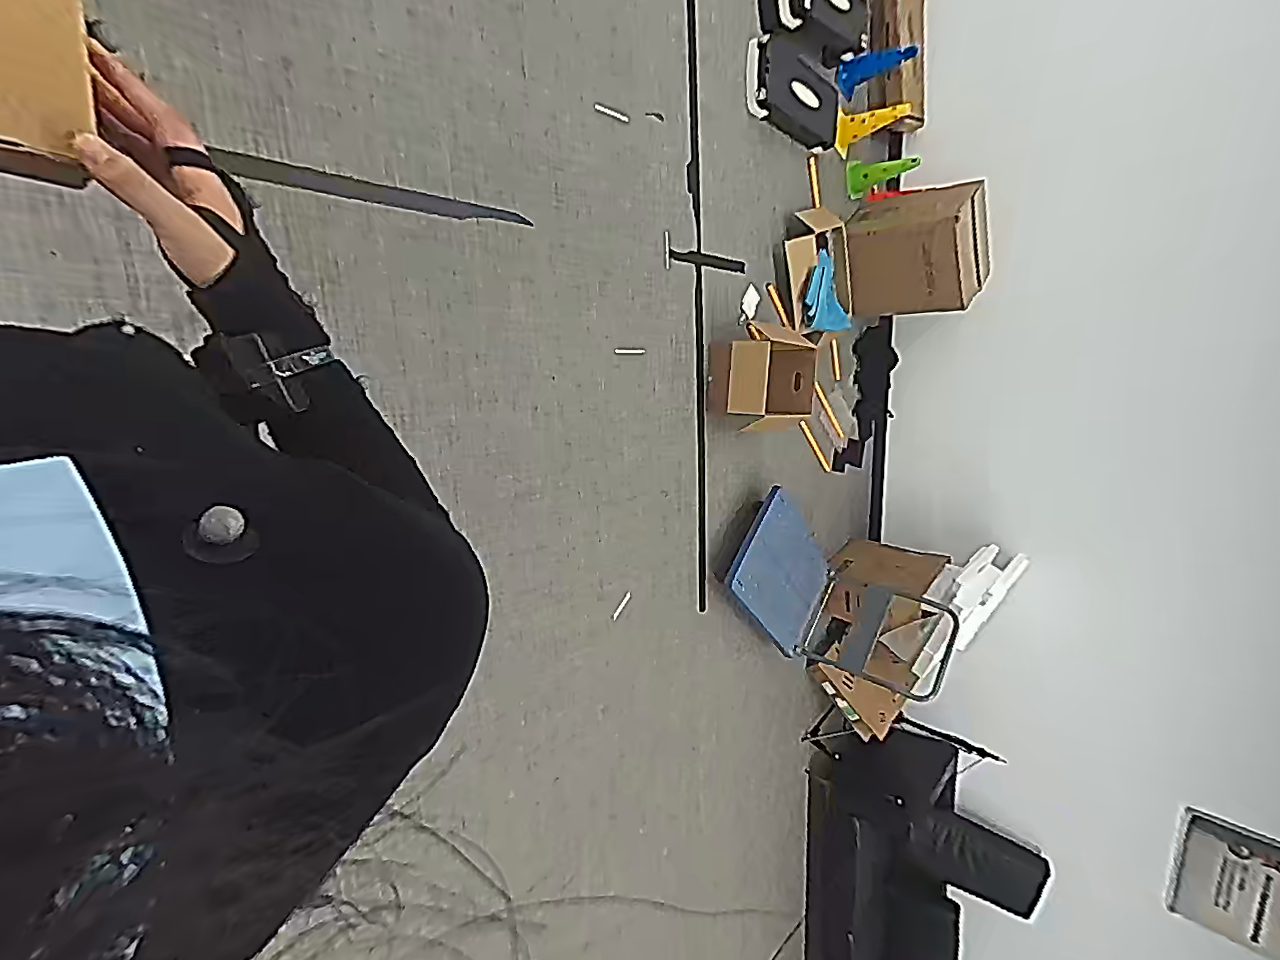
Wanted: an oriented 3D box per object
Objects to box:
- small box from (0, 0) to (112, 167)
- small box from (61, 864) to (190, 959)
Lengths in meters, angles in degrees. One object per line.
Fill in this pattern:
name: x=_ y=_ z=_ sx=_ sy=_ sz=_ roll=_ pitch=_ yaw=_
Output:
small box: x=-0.408 y=-0.290 z=0.285 sx=0.168 sy=0.176 sz=0.179 roll=-8 pitch=112 yaw=-47
small box: x=-1.079 y=0.957 z=1.135 sx=0.168 sy=0.176 sz=0.179 roll=-16 pitch=108 yaw=-43
